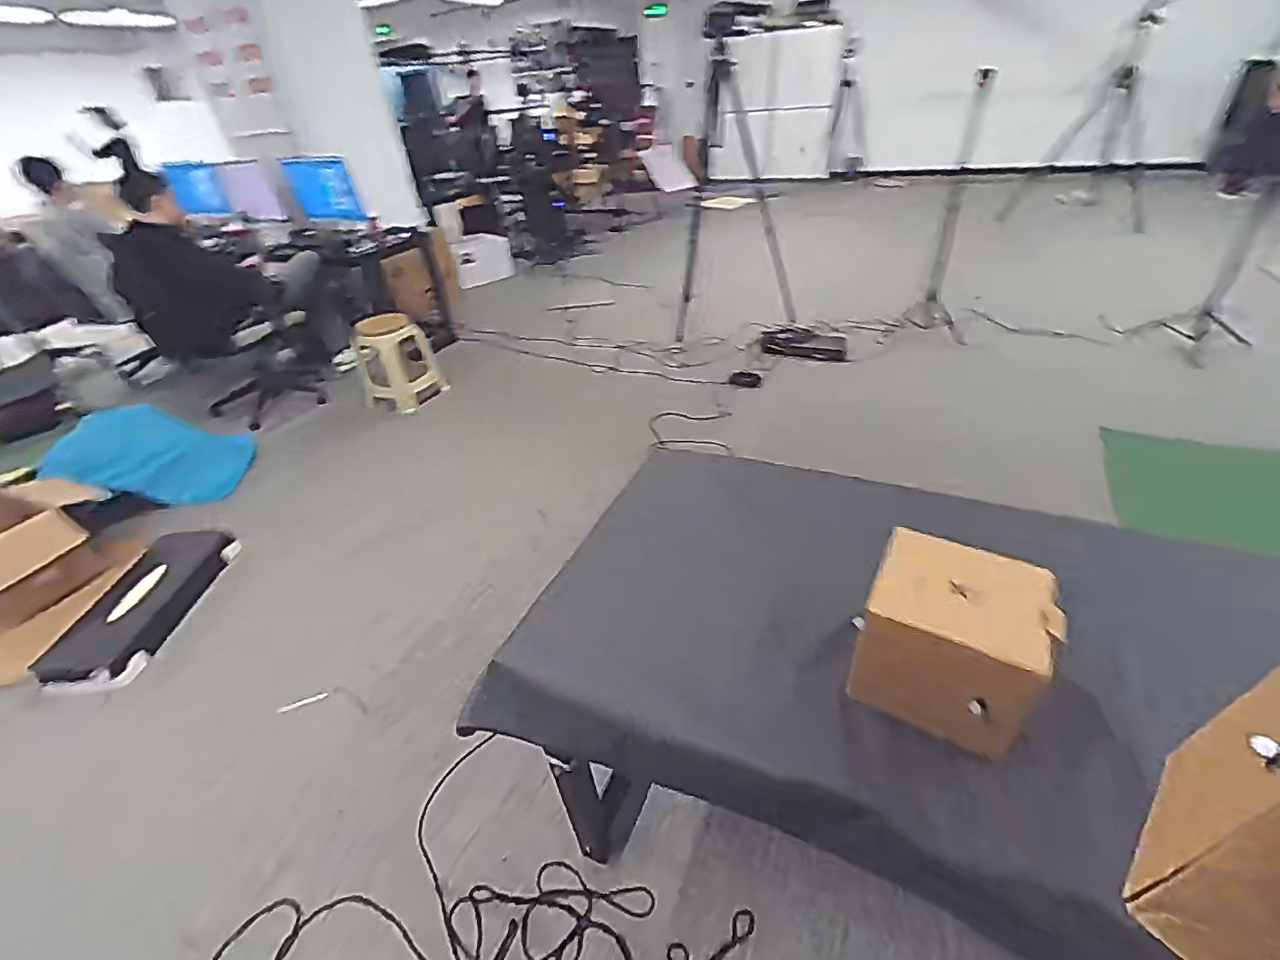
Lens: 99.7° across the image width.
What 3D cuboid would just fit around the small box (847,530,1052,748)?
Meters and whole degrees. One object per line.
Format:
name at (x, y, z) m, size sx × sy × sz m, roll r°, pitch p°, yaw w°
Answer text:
small box at (0.373, 0.194, 0.666) m, size 0.179 × 0.176 × 0.168 m, roll 16°, pitch 40°, yaw 29°
